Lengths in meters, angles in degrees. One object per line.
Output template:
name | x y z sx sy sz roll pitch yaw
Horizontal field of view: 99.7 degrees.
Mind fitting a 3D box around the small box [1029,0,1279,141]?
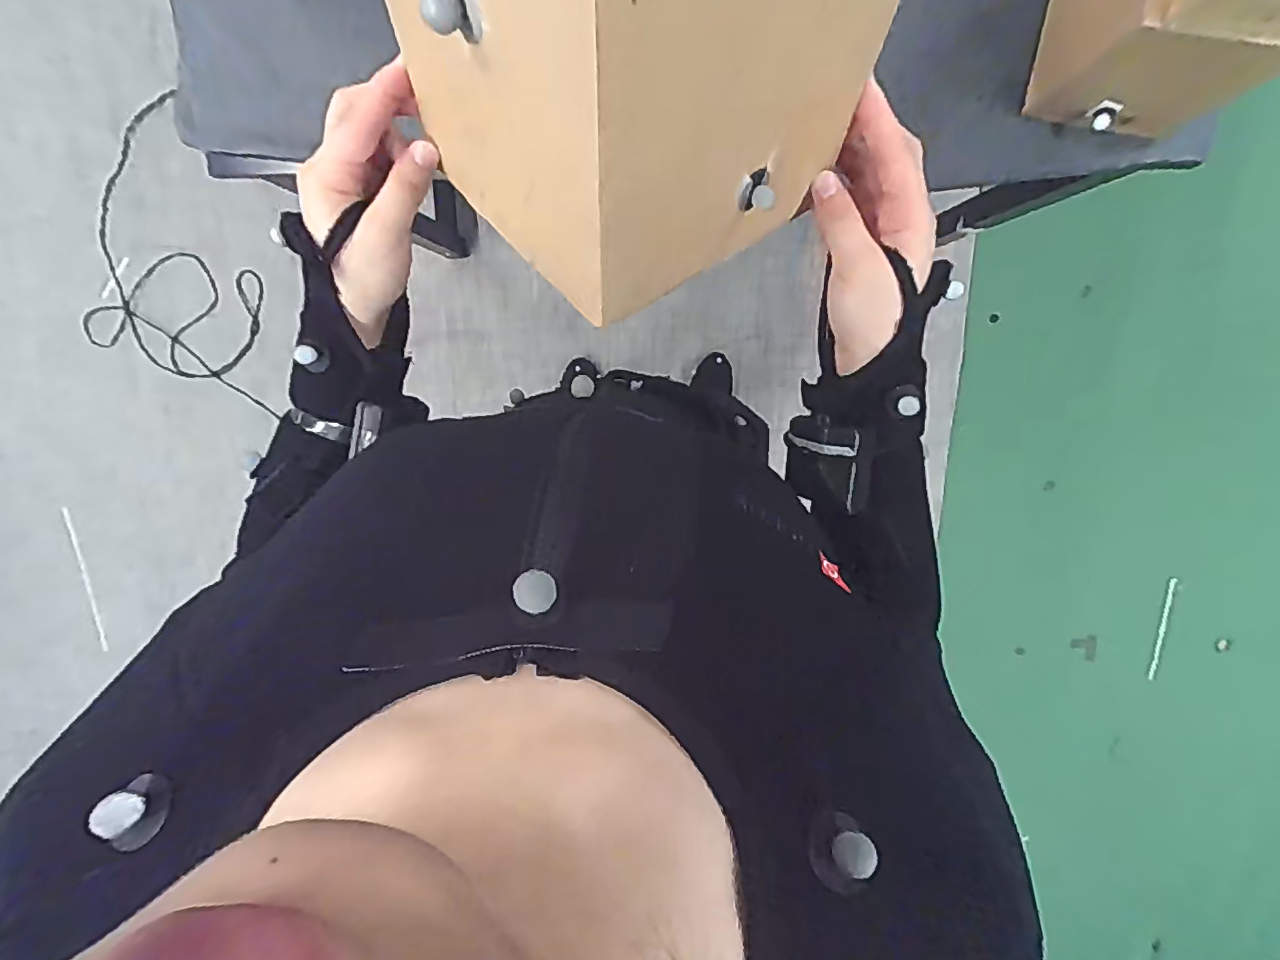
small box | 0.528 -0.471 0.527 0.168 0.176 0.179 10 101 2

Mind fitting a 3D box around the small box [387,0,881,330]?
small box | -0.003 -0.216 0.258 0.179 0.176 0.168 -36 71 -18
